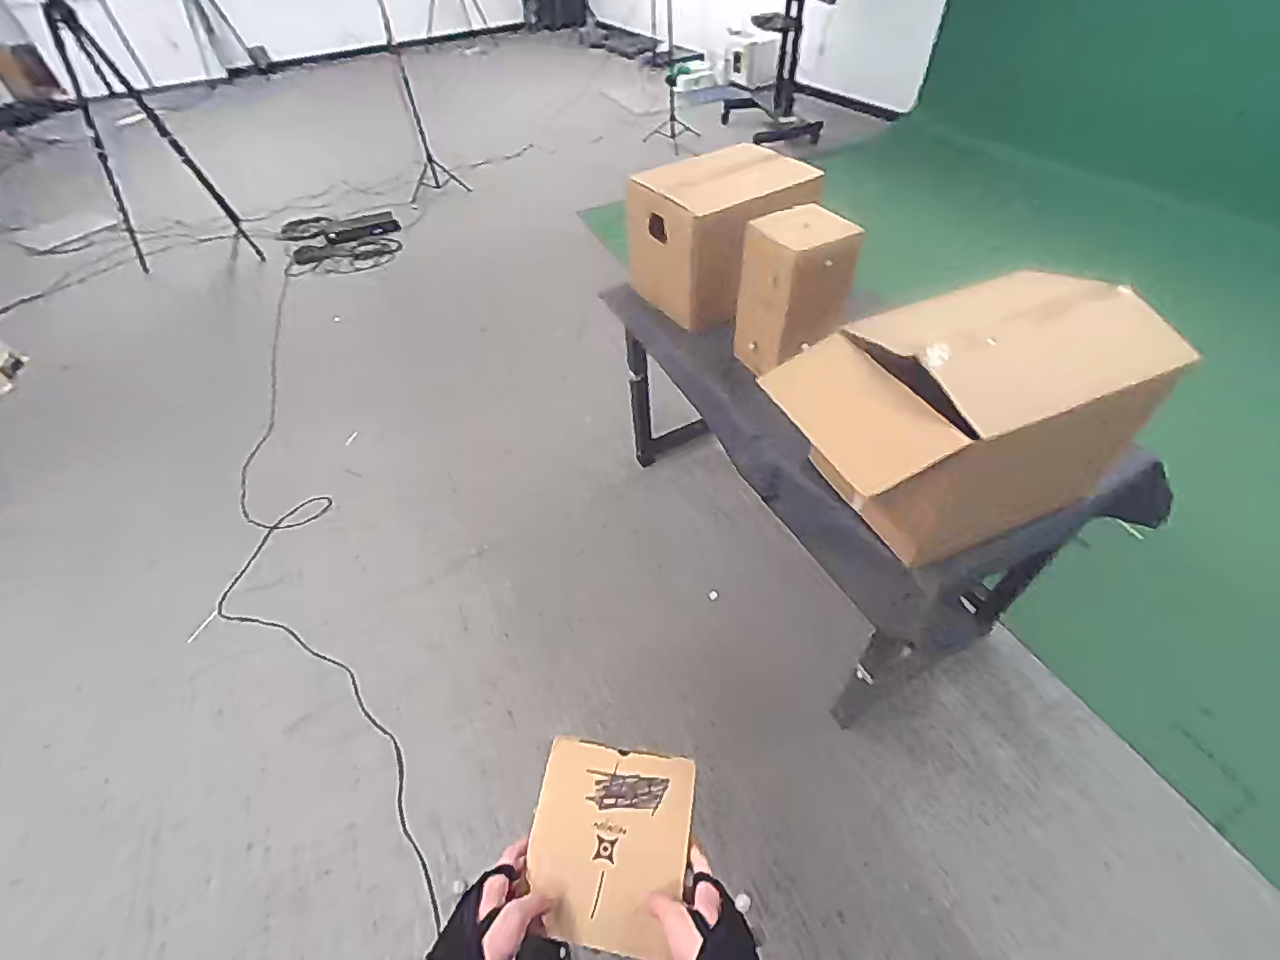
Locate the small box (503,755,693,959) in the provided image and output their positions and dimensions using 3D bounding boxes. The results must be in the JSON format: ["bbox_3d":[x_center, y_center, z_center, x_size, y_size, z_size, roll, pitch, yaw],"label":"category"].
[{"bbox_3d":[-0.032,0.428,0.606,0.168,0.176,0.179,5,56,9],"label":"small box"}]

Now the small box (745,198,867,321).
[{"bbox_3d":[0.333,-0.457,1.130,0.179,0.176,0.168,-23,52,-16],"label":"small box"}]
